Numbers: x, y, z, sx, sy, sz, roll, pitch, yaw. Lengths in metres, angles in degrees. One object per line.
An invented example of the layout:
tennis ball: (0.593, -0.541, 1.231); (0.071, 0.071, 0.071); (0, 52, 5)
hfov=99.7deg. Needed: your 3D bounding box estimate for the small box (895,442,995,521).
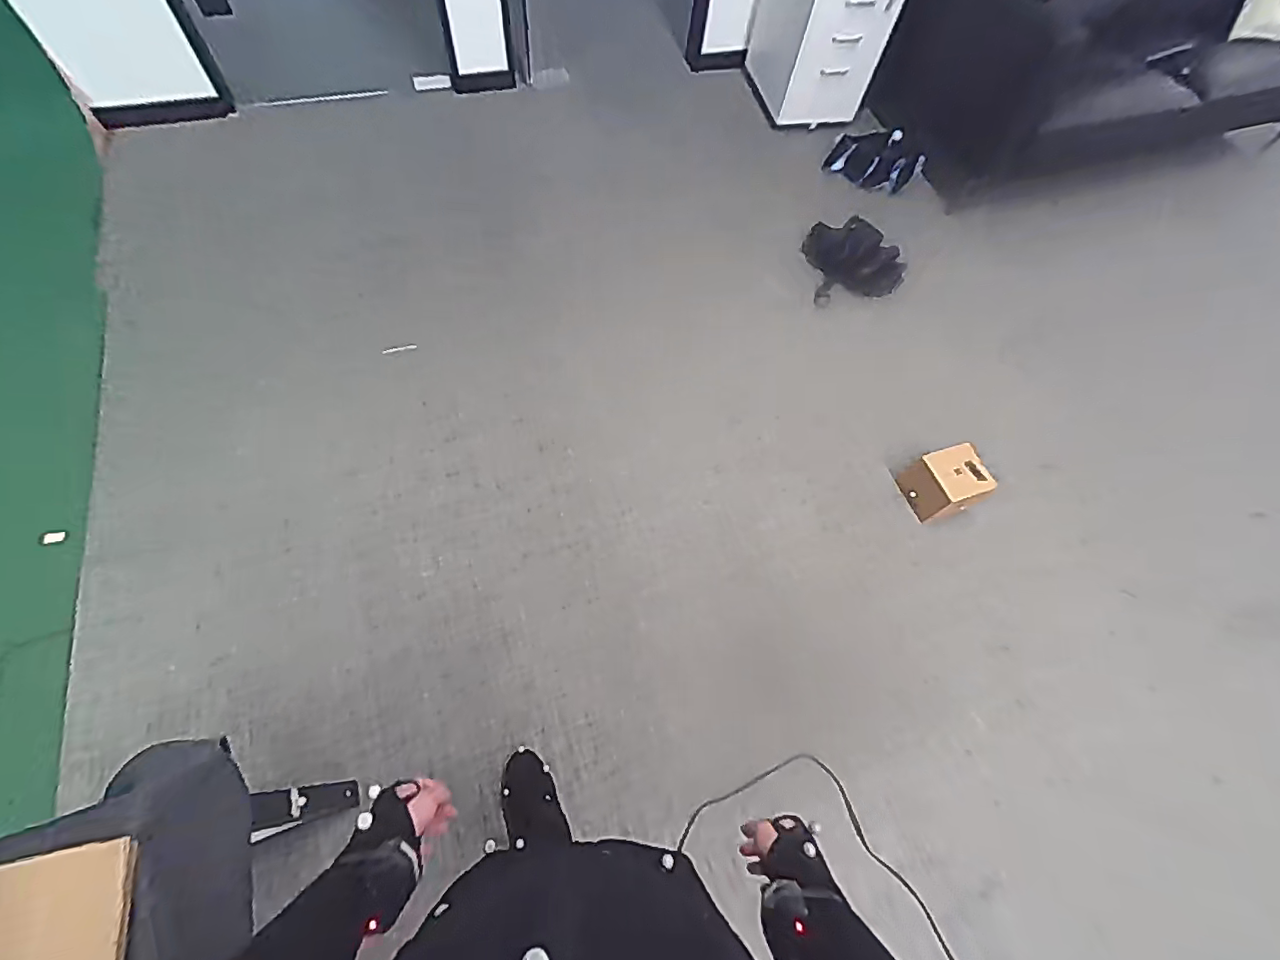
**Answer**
small box: (0.938, 0.007, 1.678); (0.179, 0.176, 0.168); (-16, 67, -13)
